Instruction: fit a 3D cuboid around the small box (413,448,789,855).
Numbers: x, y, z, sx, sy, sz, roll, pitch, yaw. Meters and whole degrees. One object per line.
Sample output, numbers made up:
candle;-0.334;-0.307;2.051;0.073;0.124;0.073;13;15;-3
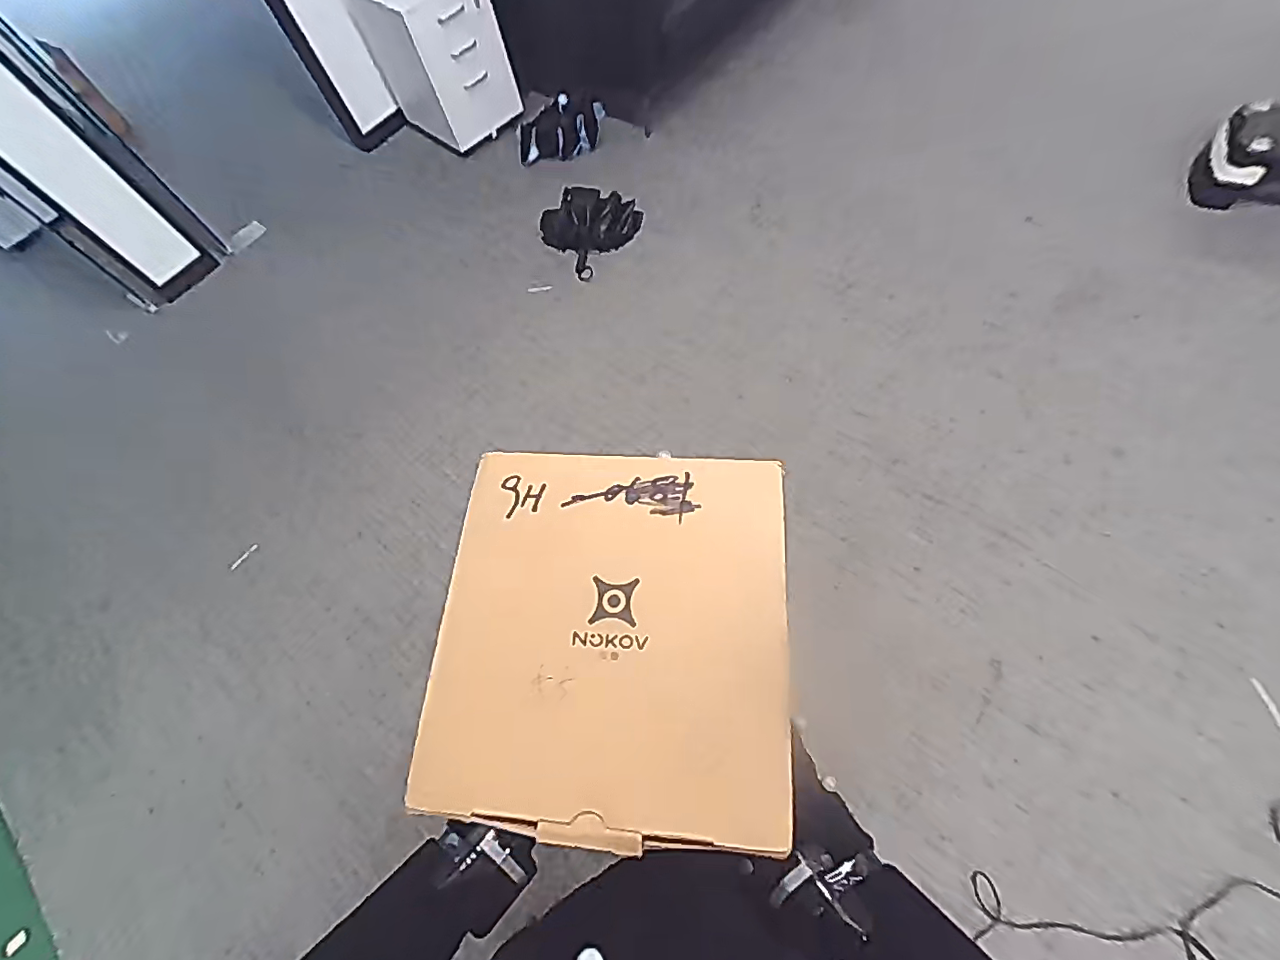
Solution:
small box;-0.004;0.095;0.328;0.168;0.176;0.179;2;67;7
